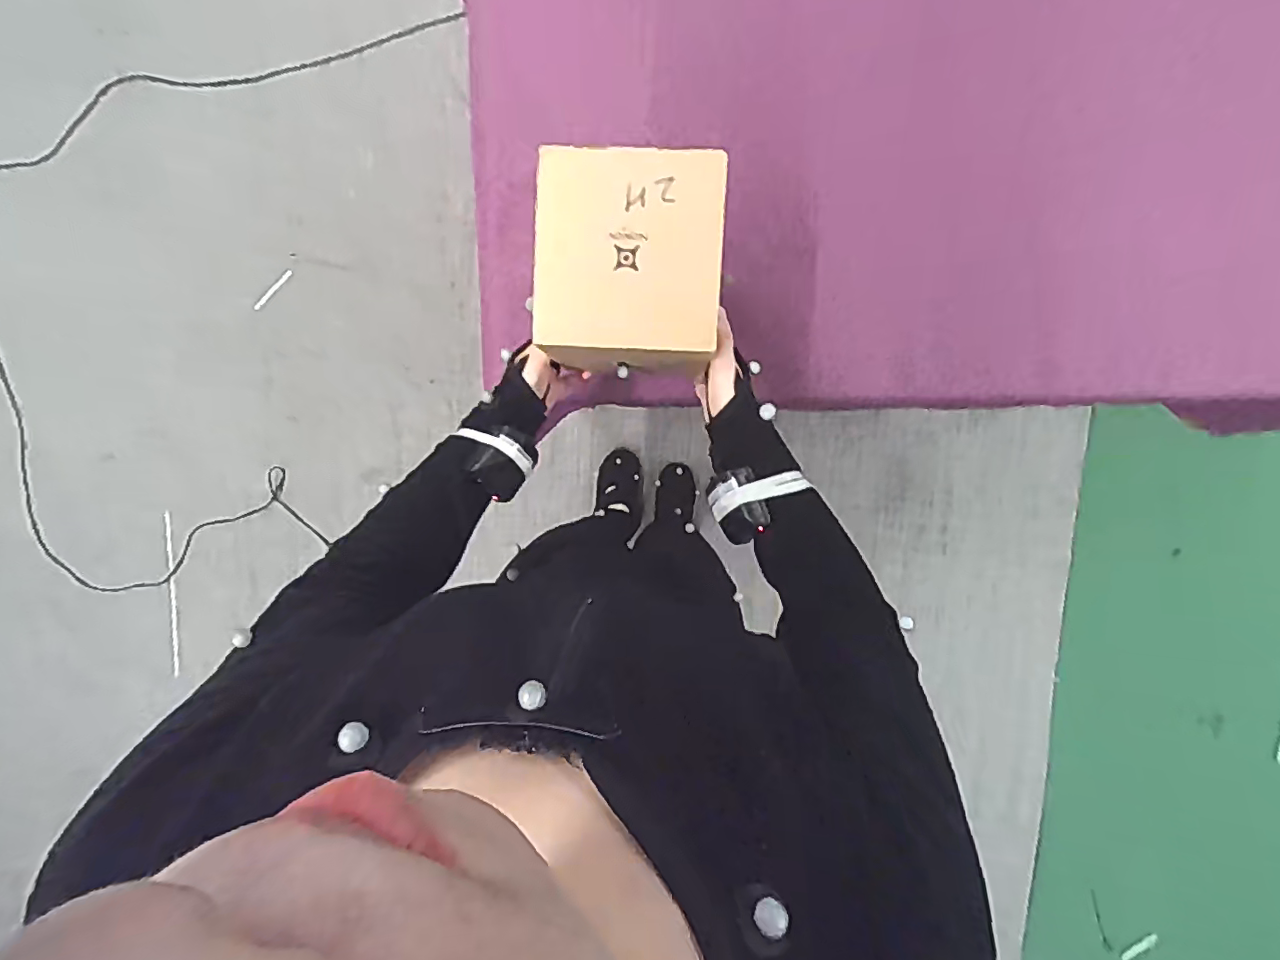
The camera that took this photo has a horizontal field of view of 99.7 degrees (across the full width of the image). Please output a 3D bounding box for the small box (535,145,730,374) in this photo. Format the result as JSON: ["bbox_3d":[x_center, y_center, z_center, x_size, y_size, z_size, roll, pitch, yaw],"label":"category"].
[{"bbox_3d":[-0.005,-0.207,0.555,0.168,0.176,0.179,3,93,2],"label":"small box"}]
